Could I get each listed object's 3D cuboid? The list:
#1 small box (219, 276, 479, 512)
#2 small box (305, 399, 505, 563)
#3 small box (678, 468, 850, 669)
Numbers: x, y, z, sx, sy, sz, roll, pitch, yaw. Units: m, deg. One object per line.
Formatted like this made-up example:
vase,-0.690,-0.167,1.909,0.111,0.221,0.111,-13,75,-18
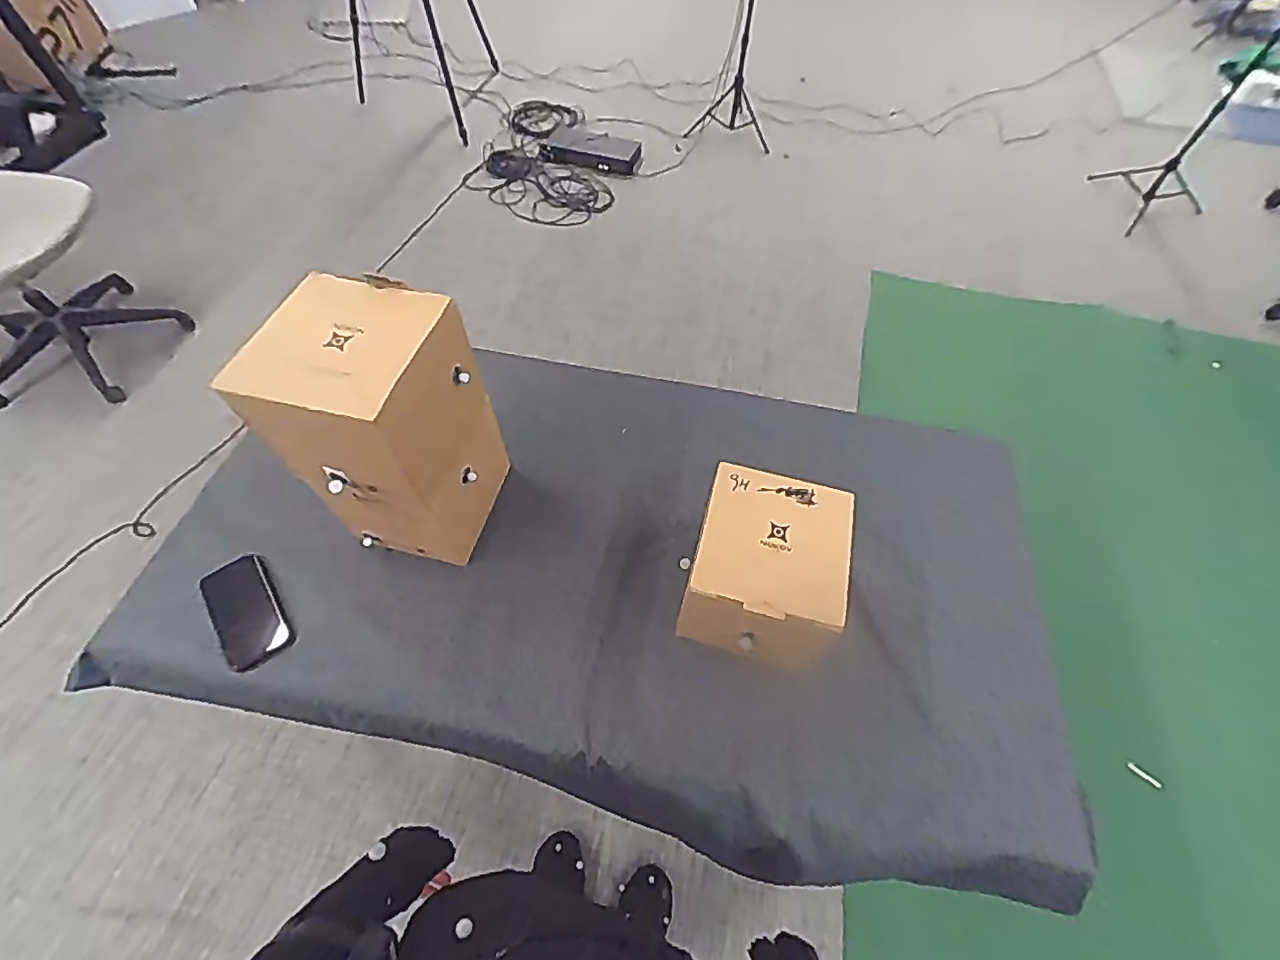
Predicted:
small box,-0.295,-0.091,0.601,0.168,0.176,0.179,11,58,6
small box,-0.300,-0.007,0.740,0.168,0.176,0.179,13,57,6
small box,0.146,0.116,0.676,0.168,0.176,0.179,14,58,8
